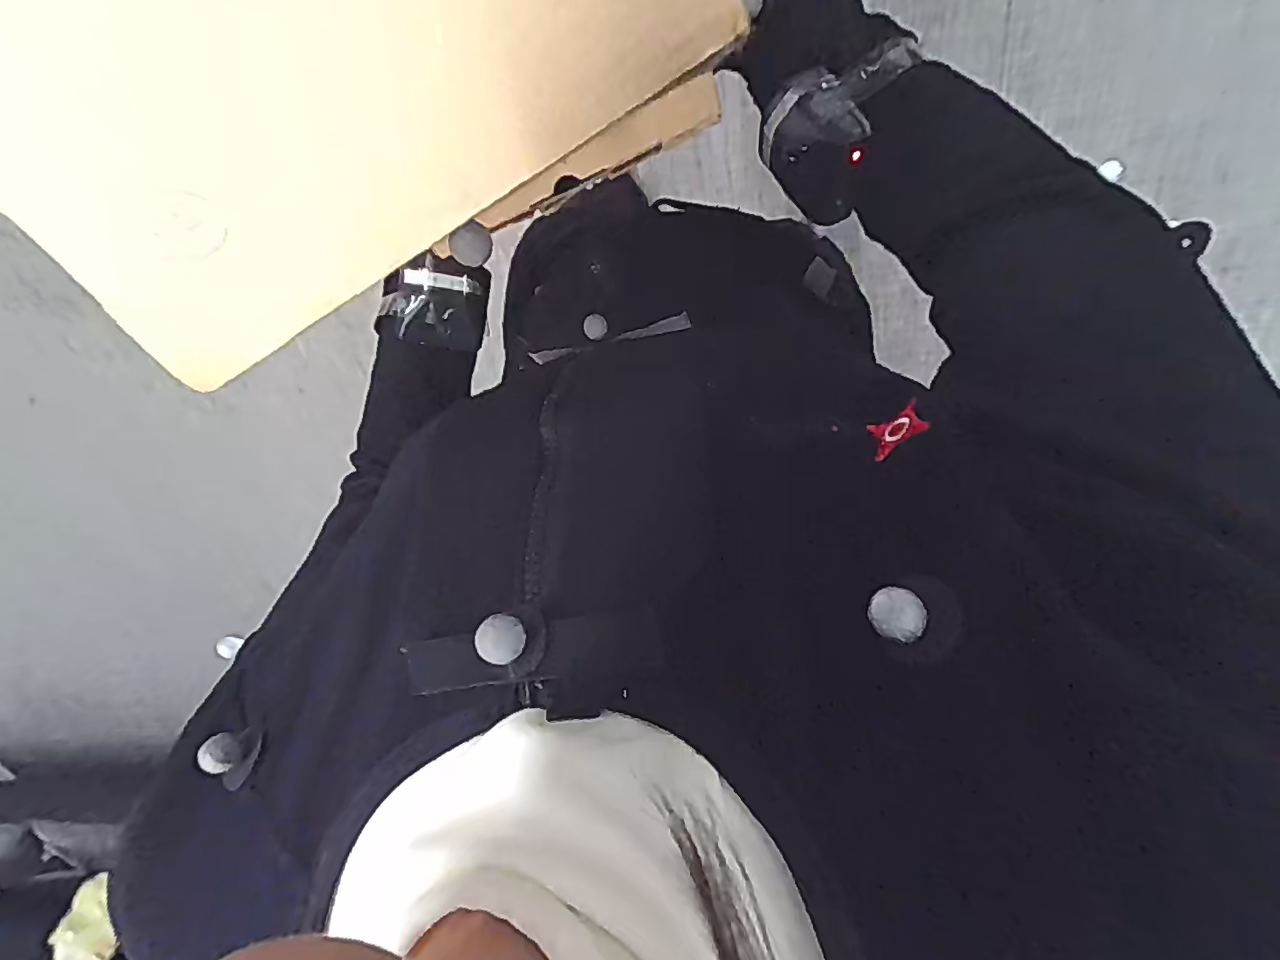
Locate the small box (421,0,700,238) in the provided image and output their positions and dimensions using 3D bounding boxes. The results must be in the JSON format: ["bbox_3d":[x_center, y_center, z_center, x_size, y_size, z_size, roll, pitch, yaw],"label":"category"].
[{"bbox_3d":[-0.073,-0.269,0.293,0.168,0.176,0.179,-19,124,18],"label":"small box"}]
